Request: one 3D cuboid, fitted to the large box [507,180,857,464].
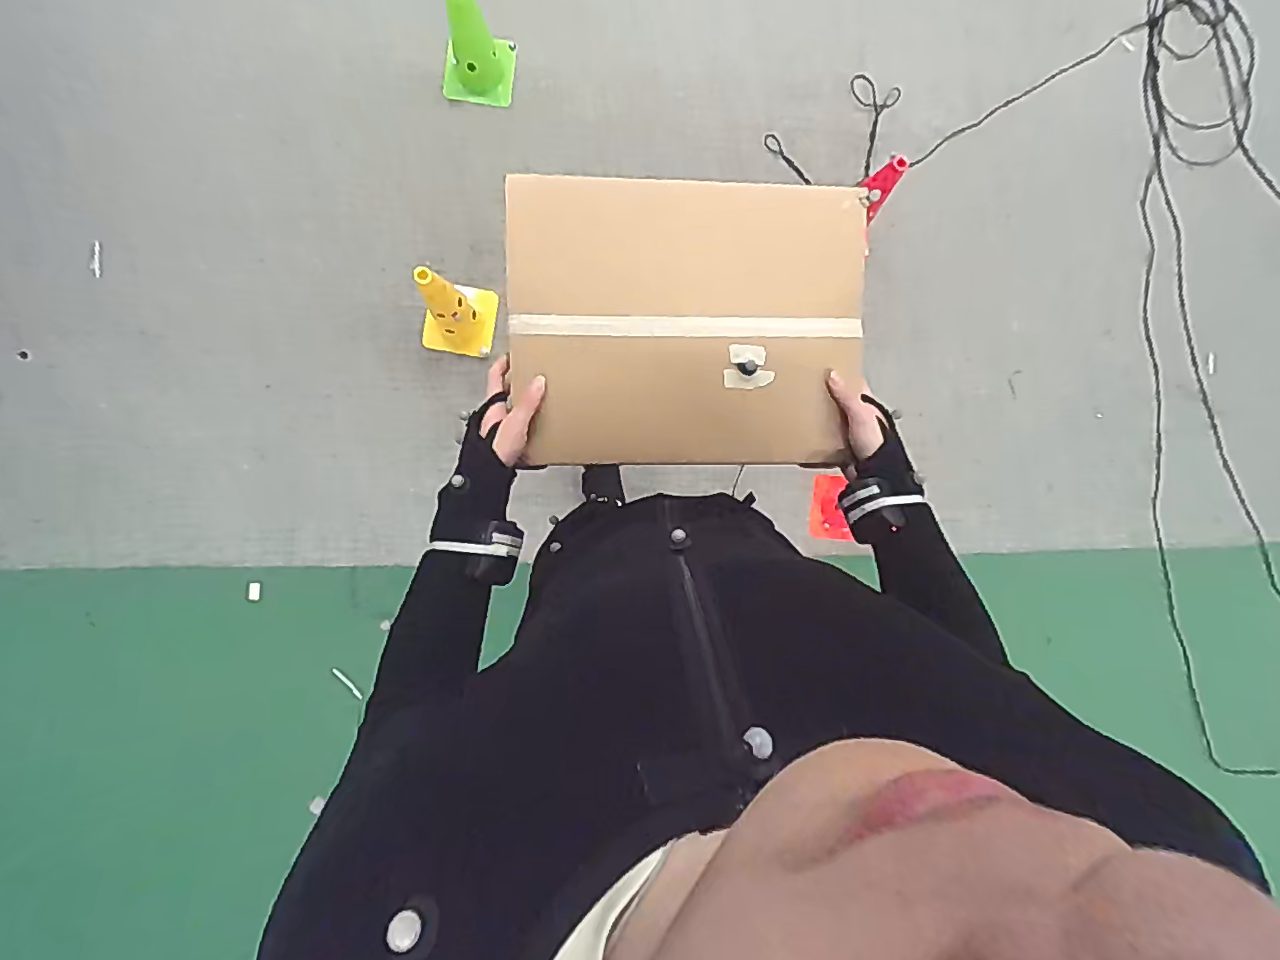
[{"bbox_3d":[0.040,-0.195,0.767,0.408,0.320,0.320,-1,97,-5],"label":"large box"}]

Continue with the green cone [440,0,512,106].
[{"bbox_3d":[-0.474,-1.220,1.433,0.200,0.368,0.202,5,91,-4],"label":"green cone"}]

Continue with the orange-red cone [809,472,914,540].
[{"bbox_3d":[0.650,0.084,1.517,0.199,0.360,0.198,7,90,-6],"label":"orange-red cone"}]
